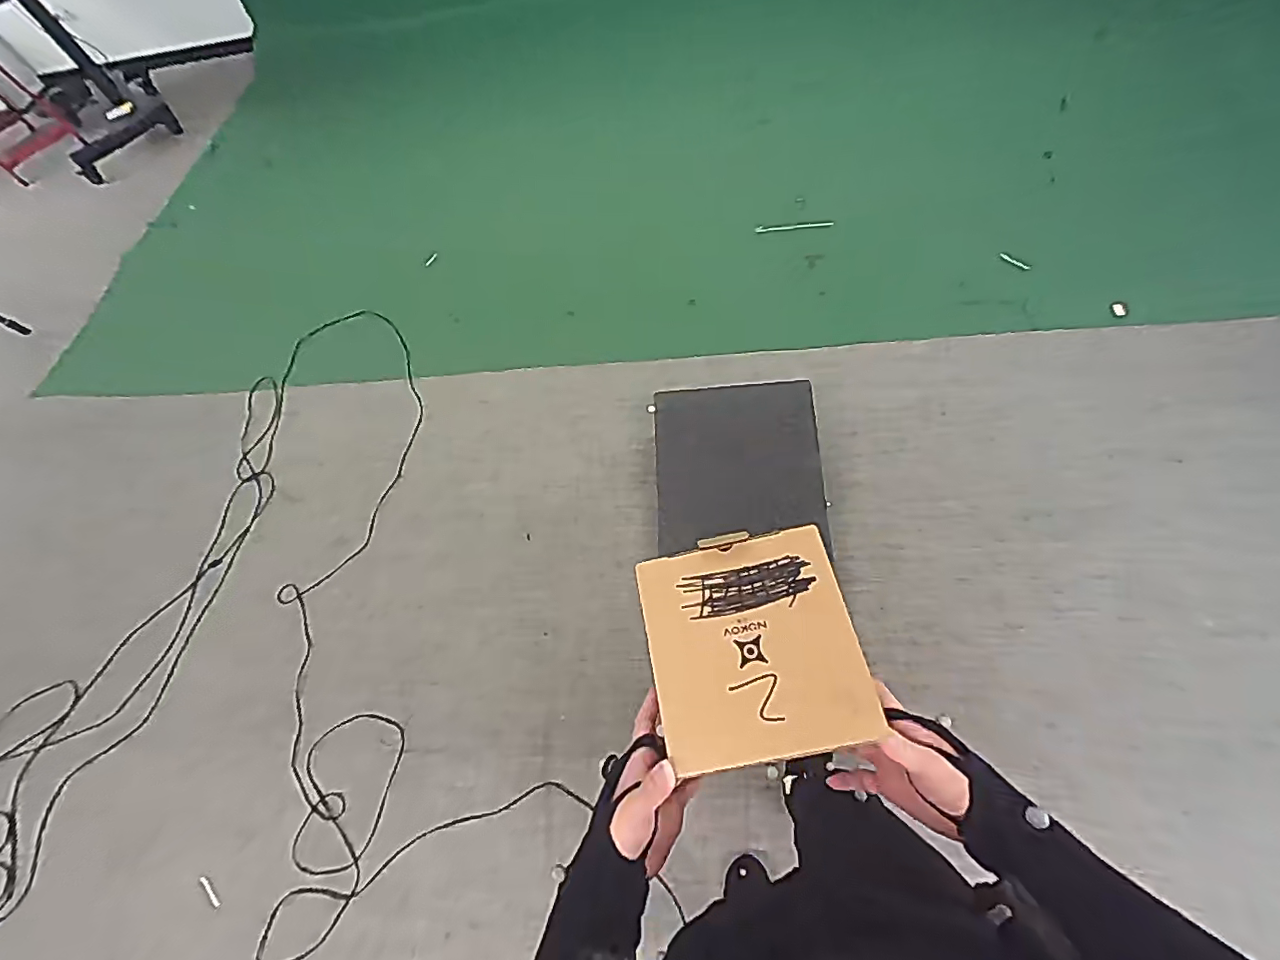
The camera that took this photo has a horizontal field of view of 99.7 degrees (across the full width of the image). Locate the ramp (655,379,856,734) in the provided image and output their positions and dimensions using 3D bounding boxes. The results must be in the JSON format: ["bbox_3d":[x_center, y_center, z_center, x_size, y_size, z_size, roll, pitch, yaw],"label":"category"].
[{"bbox_3d":[0.300,0.178,1.541,0.509,0.206,0.991,-4,62,6],"label":"ramp"}]
